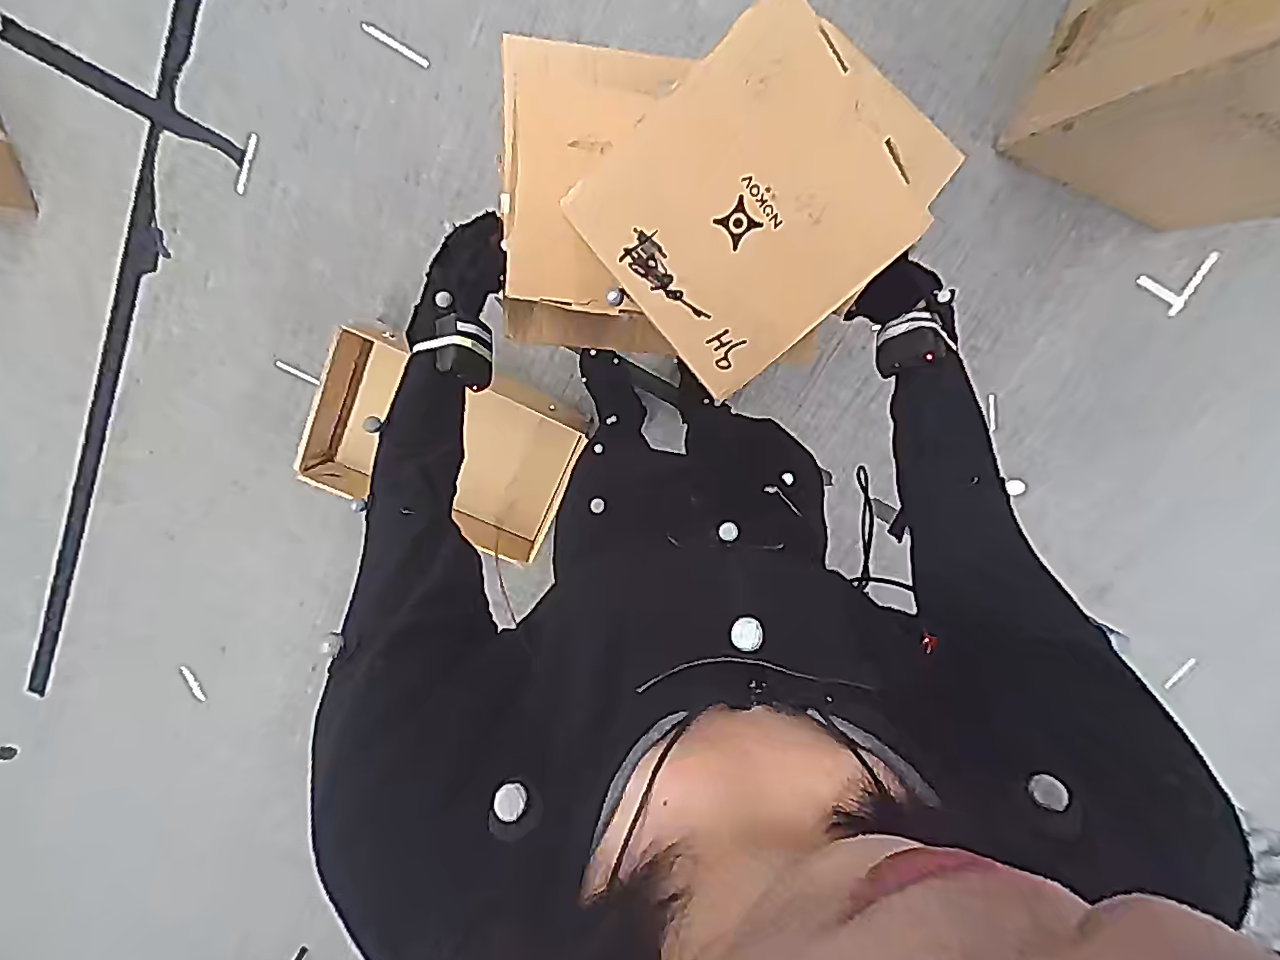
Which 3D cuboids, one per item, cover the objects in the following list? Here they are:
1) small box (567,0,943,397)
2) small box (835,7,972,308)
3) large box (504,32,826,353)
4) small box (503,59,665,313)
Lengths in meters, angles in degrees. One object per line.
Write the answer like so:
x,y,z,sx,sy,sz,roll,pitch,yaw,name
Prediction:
0.065,-0.193,0.395,0.179,0.176,0.168,-40,109,11,small box
0.165,-0.294,0.537,0.179,0.176,0.168,32,107,-16,small box
0.033,-0.367,0.763,0.408,0.320,0.320,2,114,-7,large box
-0.037,-0.270,0.534,0.168,0.176,0.179,4,111,-8,small box
